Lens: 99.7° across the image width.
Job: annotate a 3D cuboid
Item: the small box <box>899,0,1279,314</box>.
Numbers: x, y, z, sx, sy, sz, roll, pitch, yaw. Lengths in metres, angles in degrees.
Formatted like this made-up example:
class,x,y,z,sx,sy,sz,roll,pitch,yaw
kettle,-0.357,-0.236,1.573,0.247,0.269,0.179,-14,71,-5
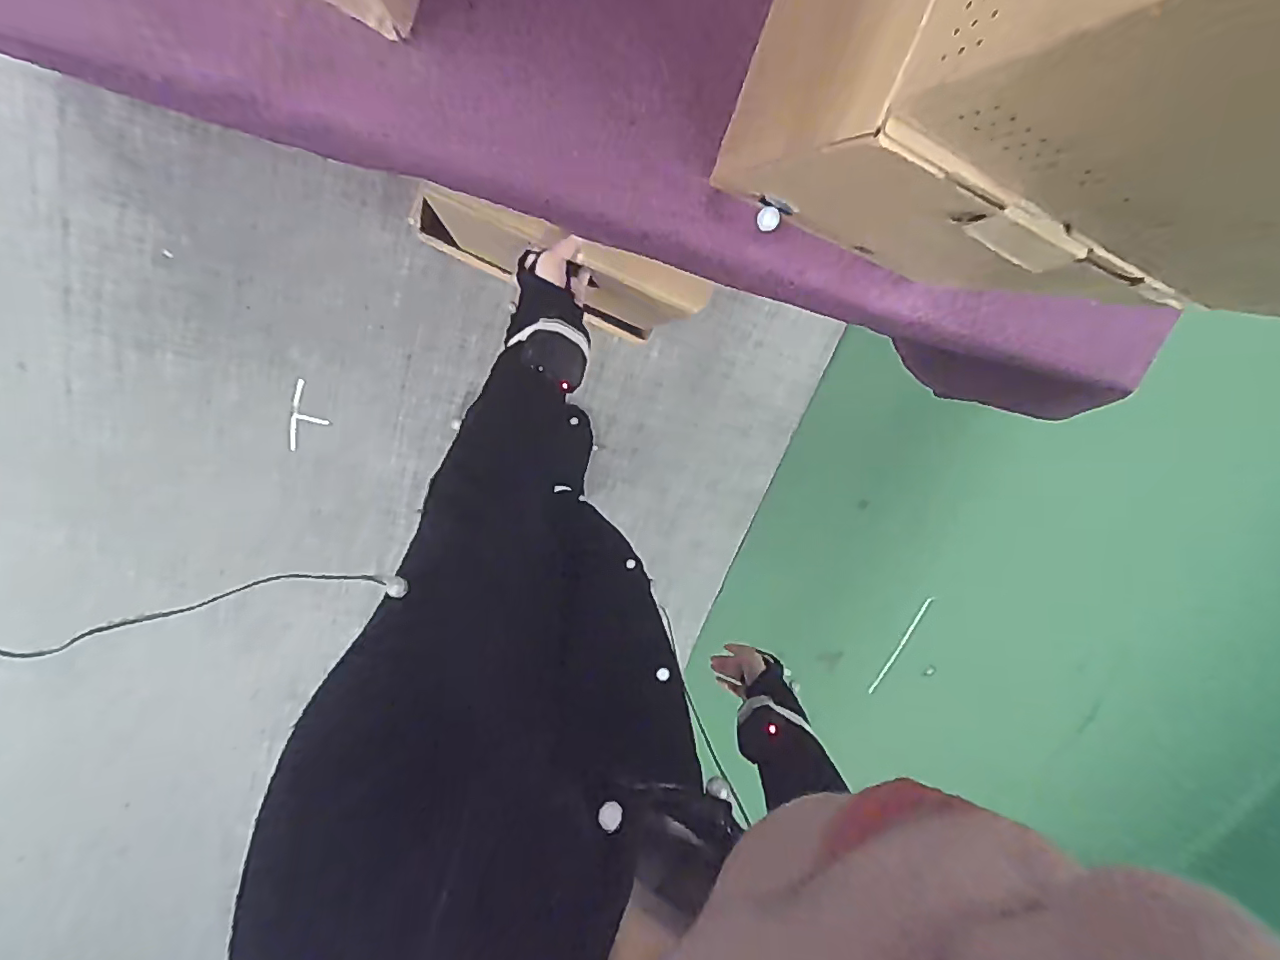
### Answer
class,x,y,z,sx,sy,sz,roll,pitch,yaw
small box,0.198,-0.130,0.101,0.179,0.176,0.168,16,109,-18

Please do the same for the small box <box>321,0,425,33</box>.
class,x,y,z,sx,sy,sz,roll,pitch,yaw
small box,-0.132,-0.280,0.143,0.168,0.176,0.179,19,109,-20

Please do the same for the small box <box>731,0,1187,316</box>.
class,x,y,z,sx,sy,sz,roll,pitch,yaw
small box,0.160,-0.195,0.246,0.168,0.176,0.179,15,109,-18
